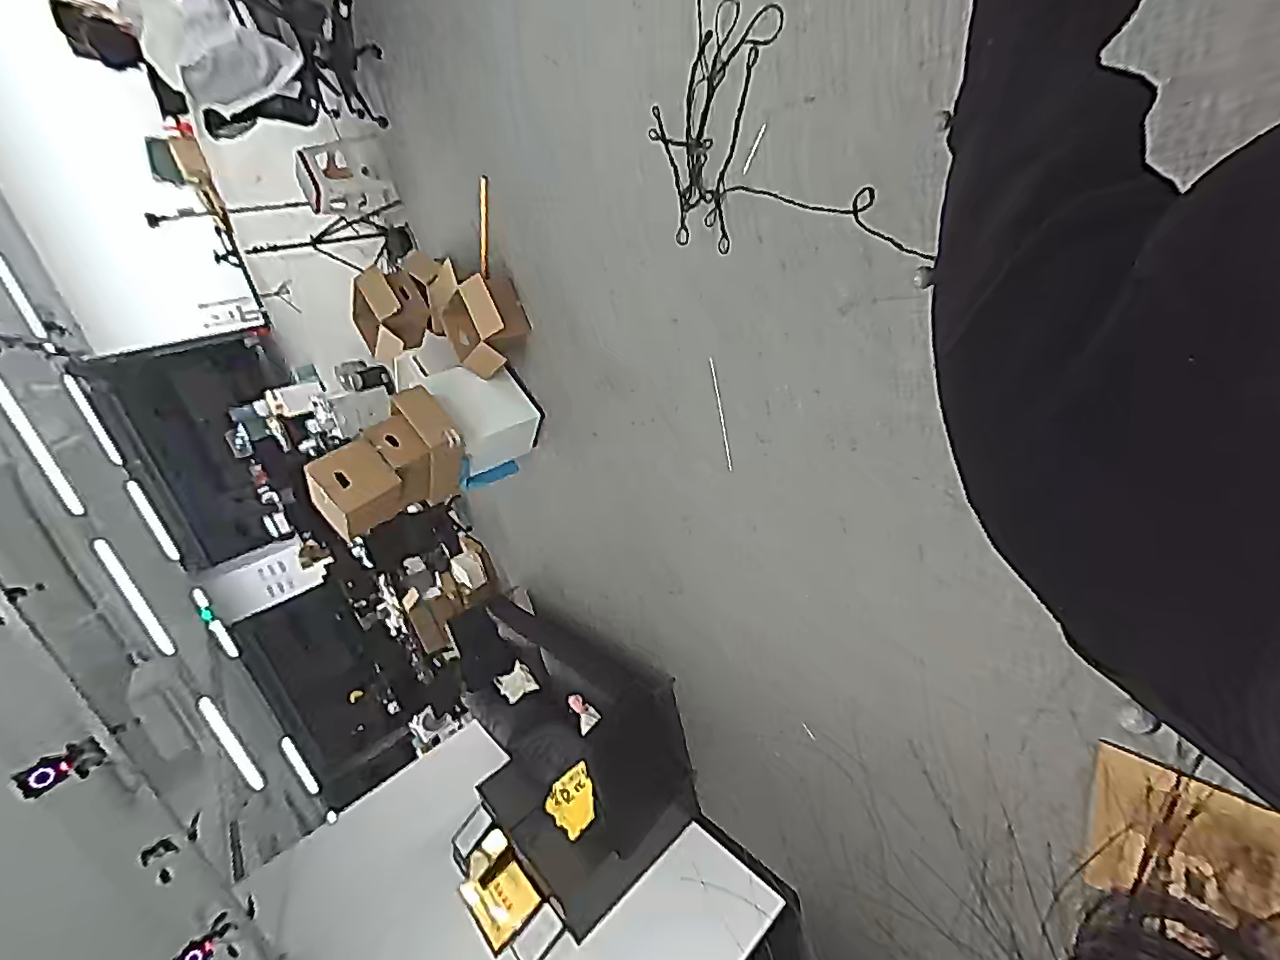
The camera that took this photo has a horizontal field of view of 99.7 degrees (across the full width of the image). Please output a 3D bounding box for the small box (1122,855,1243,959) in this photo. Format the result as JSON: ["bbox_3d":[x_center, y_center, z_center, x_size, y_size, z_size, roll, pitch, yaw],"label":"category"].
[{"bbox_3d":[1.460,1.166,1.454,0.168,0.176,0.179,33,138,37],"label":"small box"}]
